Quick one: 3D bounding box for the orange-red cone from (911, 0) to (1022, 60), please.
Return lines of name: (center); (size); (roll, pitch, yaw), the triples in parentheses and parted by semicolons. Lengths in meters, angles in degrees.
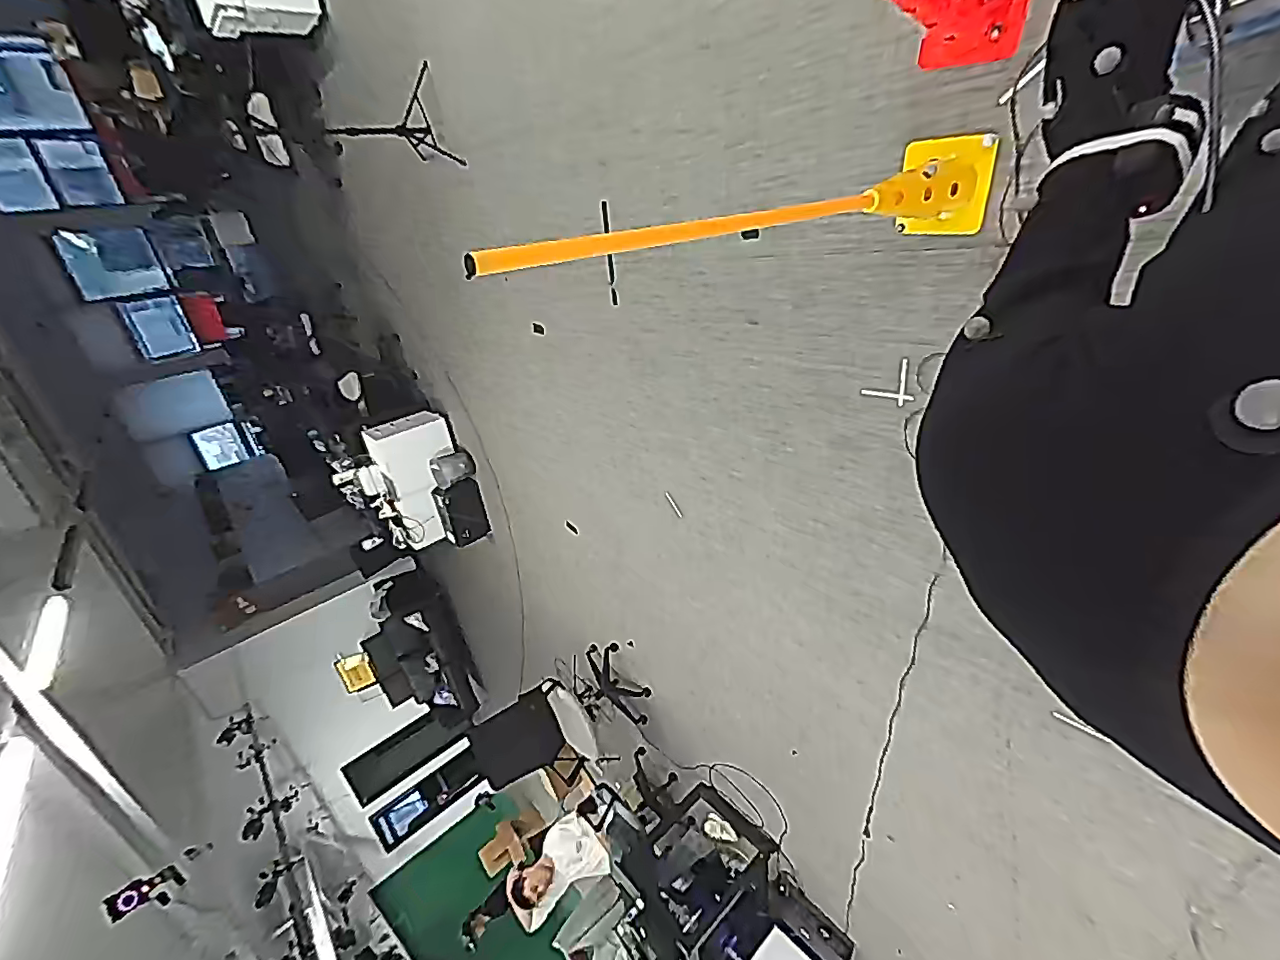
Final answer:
orange-red cone: (0.545, -0.913, 0.994); (0.198, 0.360, 0.199); (29, 133, 38)
